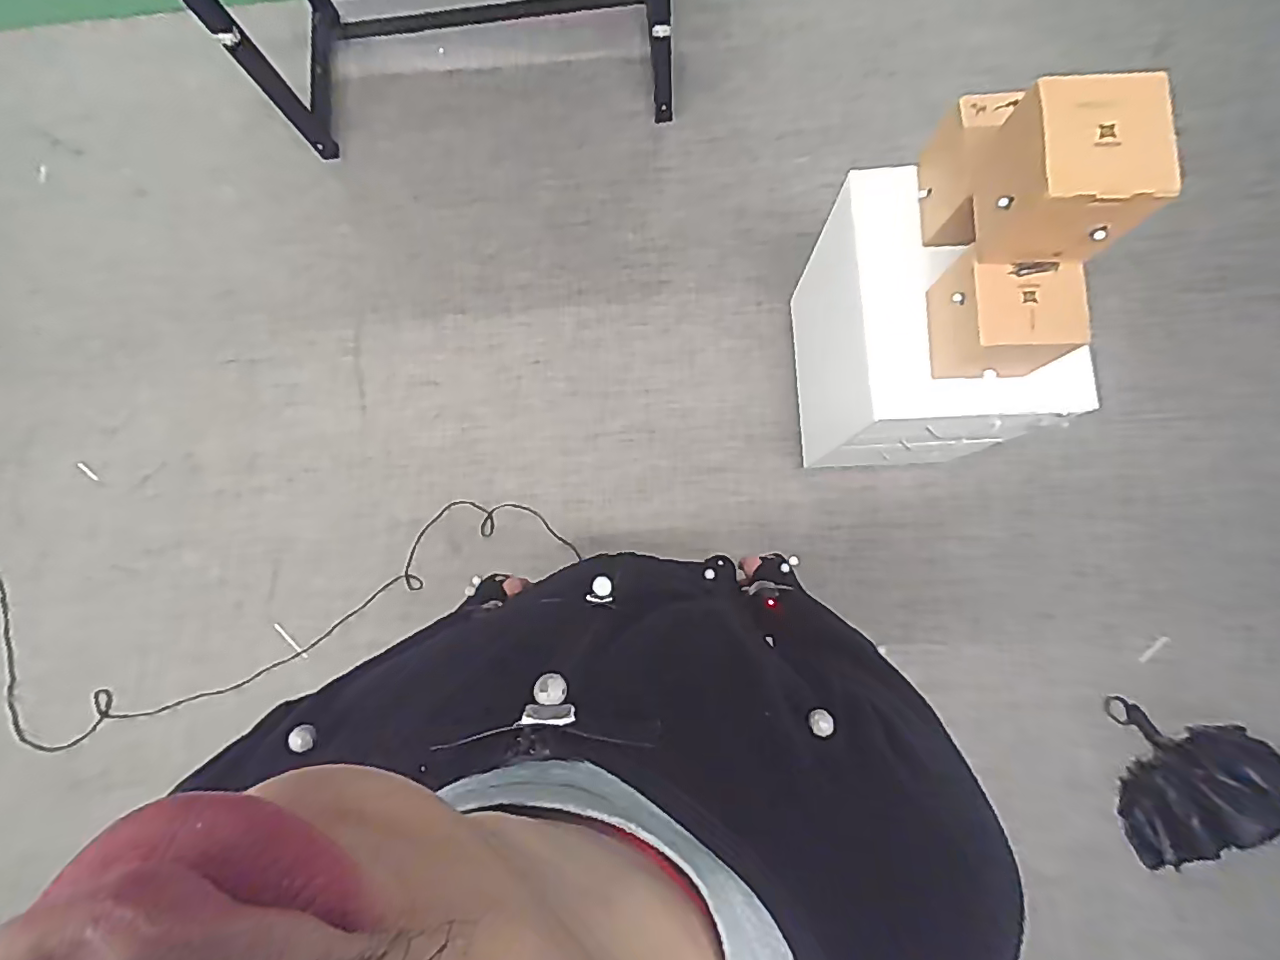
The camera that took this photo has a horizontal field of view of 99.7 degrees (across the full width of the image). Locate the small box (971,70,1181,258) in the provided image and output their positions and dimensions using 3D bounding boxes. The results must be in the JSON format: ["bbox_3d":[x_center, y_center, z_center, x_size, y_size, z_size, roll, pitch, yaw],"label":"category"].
[{"bbox_3d":[0.606,-0.437,0.776,0.168,0.176,0.179,0,82,3],"label":"small box"}]

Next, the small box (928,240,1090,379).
[{"bbox_3d":[0.611,-0.283,0.918,0.168,0.176,0.179,0,83,4],"label":"small box"}]

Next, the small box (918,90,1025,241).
[{"bbox_3d":[0.613,-0.541,0.953,0.168,0.176,0.179,-2,85,3],"label":"small box"}]
